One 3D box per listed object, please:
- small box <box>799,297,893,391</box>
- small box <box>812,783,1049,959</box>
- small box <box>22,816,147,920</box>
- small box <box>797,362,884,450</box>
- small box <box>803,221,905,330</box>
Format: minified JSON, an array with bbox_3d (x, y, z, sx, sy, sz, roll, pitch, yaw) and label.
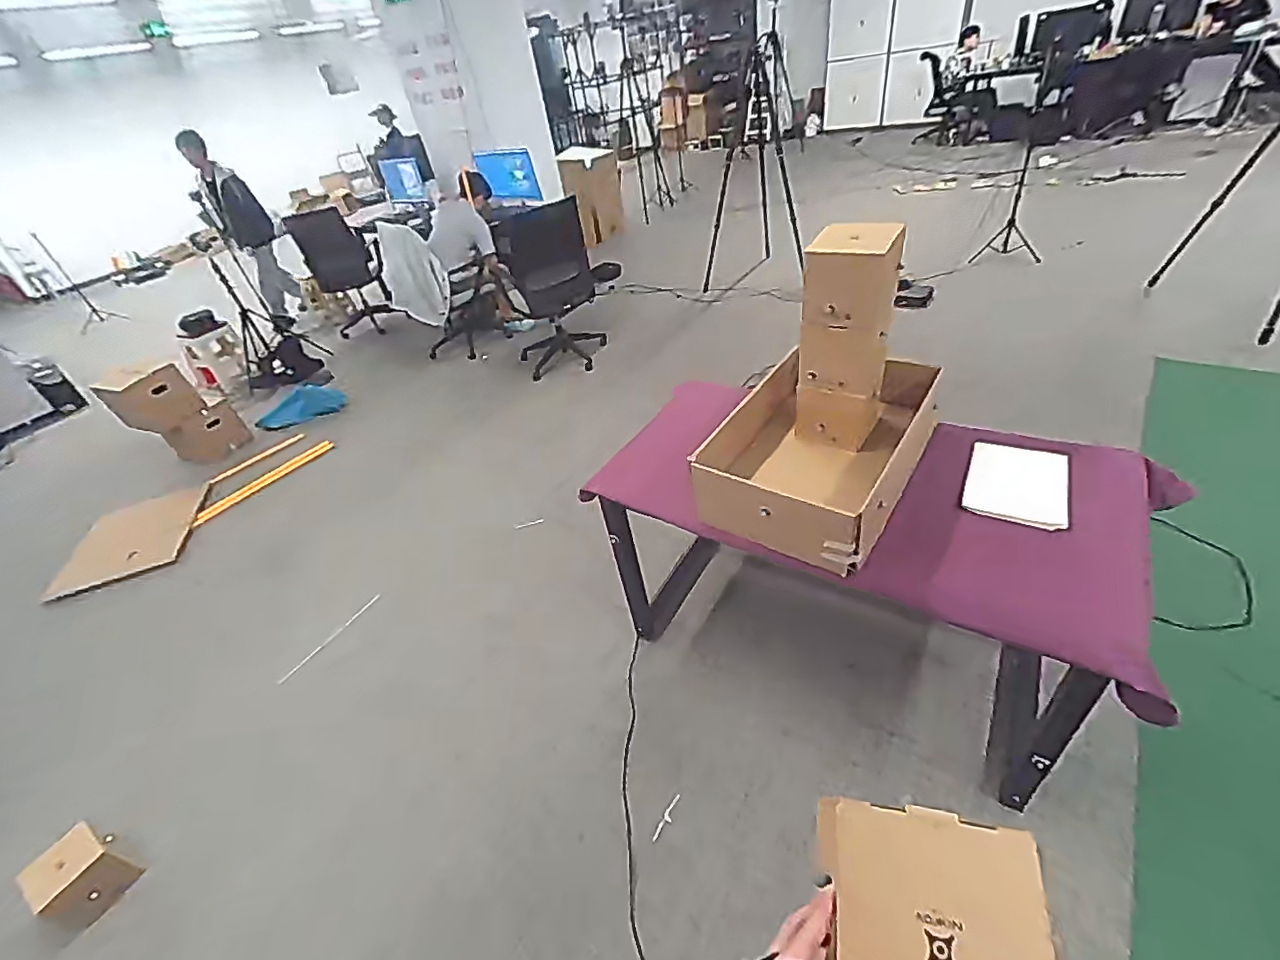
[{"bbox_3d":[0.493,-0.336,1.306,0.168,0.176,0.179,17,48,30],"label":"small box"},{"bbox_3d":[0.258,0.405,0.518,0.168,0.176,0.179,3,61,14],"label":"small box"},{"bbox_3d":[-1.590,1.122,1.558,0.179,0.176,0.168,14,45,29],"label":"small box"},{"bbox_3d":[0.516,-0.208,1.407,0.168,0.176,0.179,17,49,30],"label":"small box"},{"bbox_3d":[0.468,-0.456,1.200,0.168,0.176,0.179,17,49,30],"label":"small box"}]
